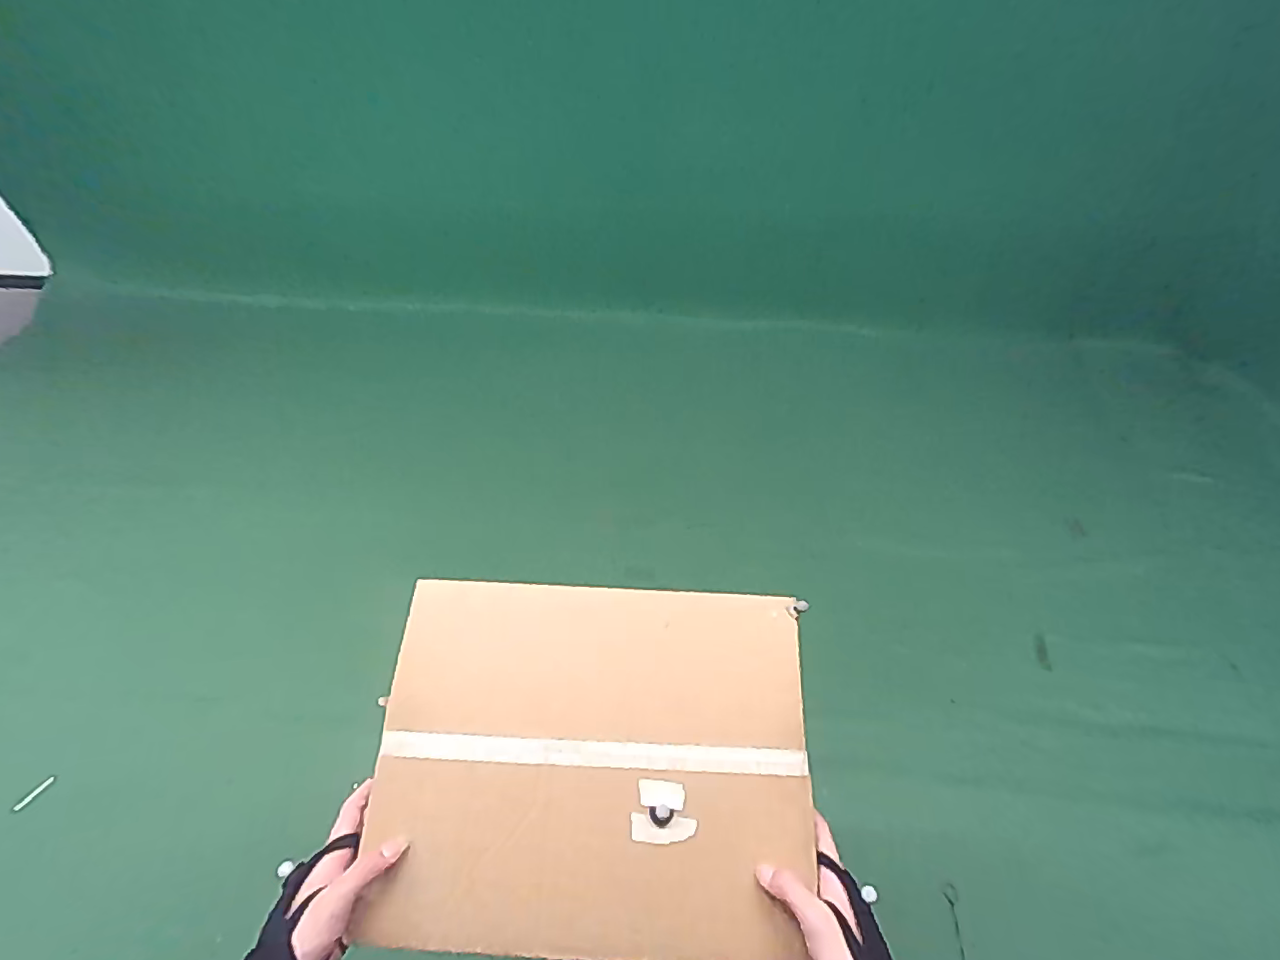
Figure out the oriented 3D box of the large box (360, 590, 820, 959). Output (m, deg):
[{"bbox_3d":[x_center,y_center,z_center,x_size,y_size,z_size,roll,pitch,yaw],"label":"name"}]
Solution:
[{"bbox_3d":[-0.043,0.326,0.657,0.408,0.320,0.320,2,67,0],"label":"large box"}]
